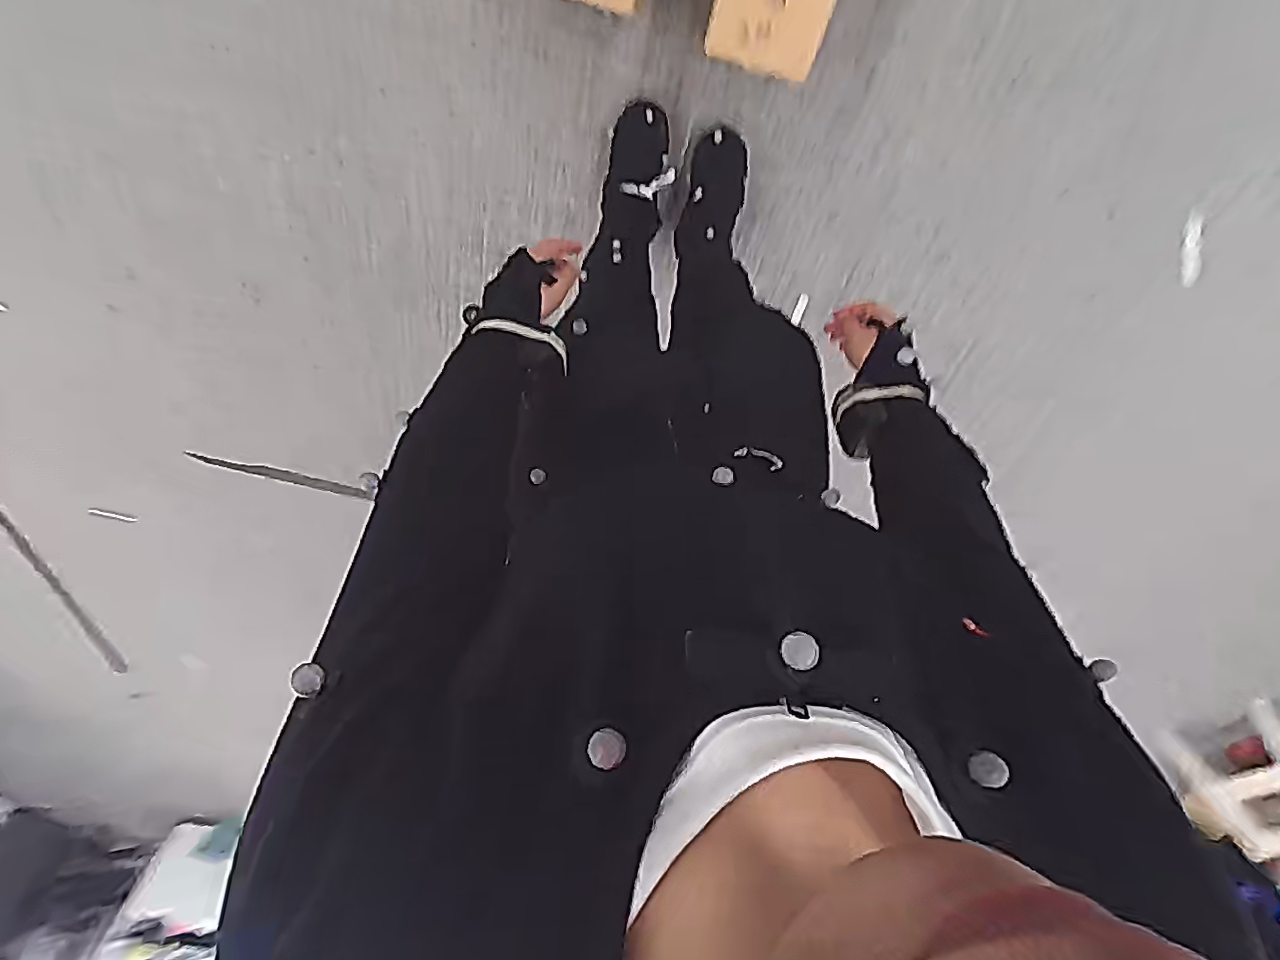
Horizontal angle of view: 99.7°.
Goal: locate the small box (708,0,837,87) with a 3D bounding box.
[{"bbox_3d":[0.206,-0.750,0.843,0.168,0.176,0.179,14,131,-6],"label":"small box"}]
